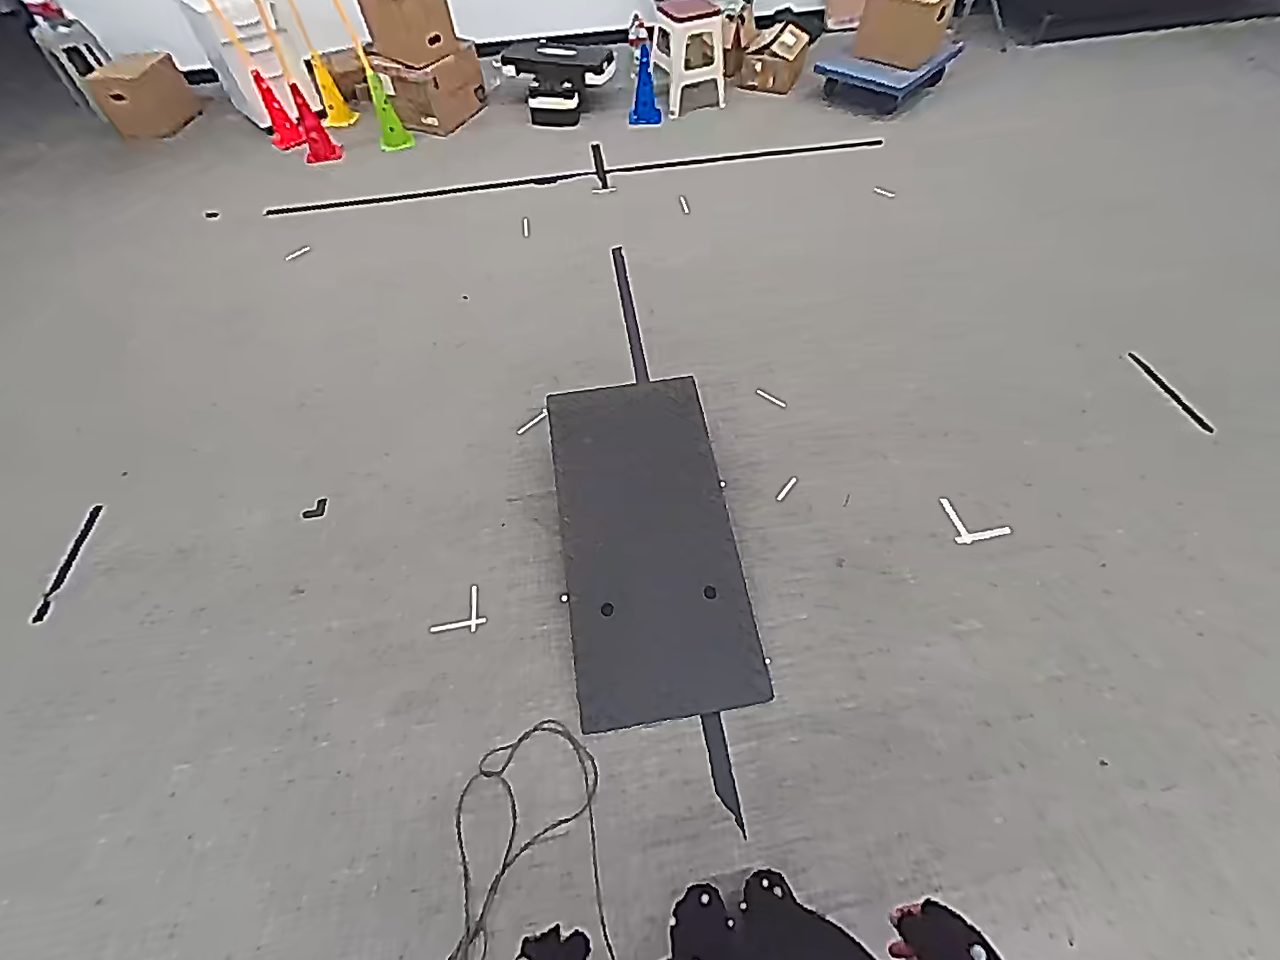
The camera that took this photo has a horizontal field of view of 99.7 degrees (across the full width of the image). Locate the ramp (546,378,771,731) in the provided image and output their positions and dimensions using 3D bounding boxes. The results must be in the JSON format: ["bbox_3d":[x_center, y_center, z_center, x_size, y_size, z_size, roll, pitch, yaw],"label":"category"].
[{"bbox_3d":[0.018,0.145,1.565,0.509,0.206,0.991,-10,55,-6],"label":"ramp"}]
